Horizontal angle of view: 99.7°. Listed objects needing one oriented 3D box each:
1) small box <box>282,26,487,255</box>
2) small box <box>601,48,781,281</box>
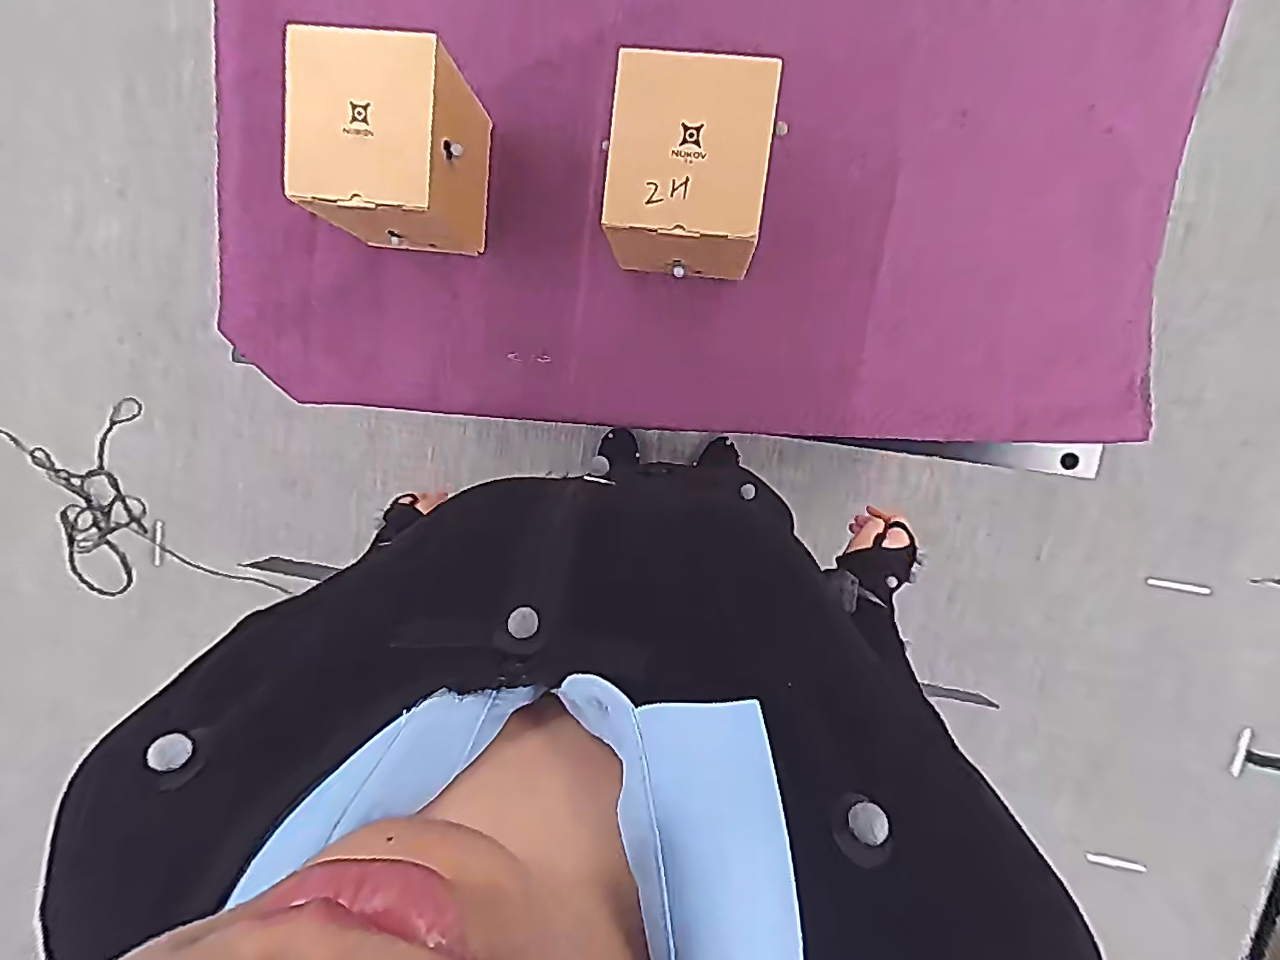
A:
[{"bbox_3d":[-0.294,-0.393,0.654,0.168,0.176,0.179,6,98,3],"label":"small box"},{"bbox_3d":[0.056,-0.349,0.629,0.168,0.176,0.179,8,98,5],"label":"small box"}]
